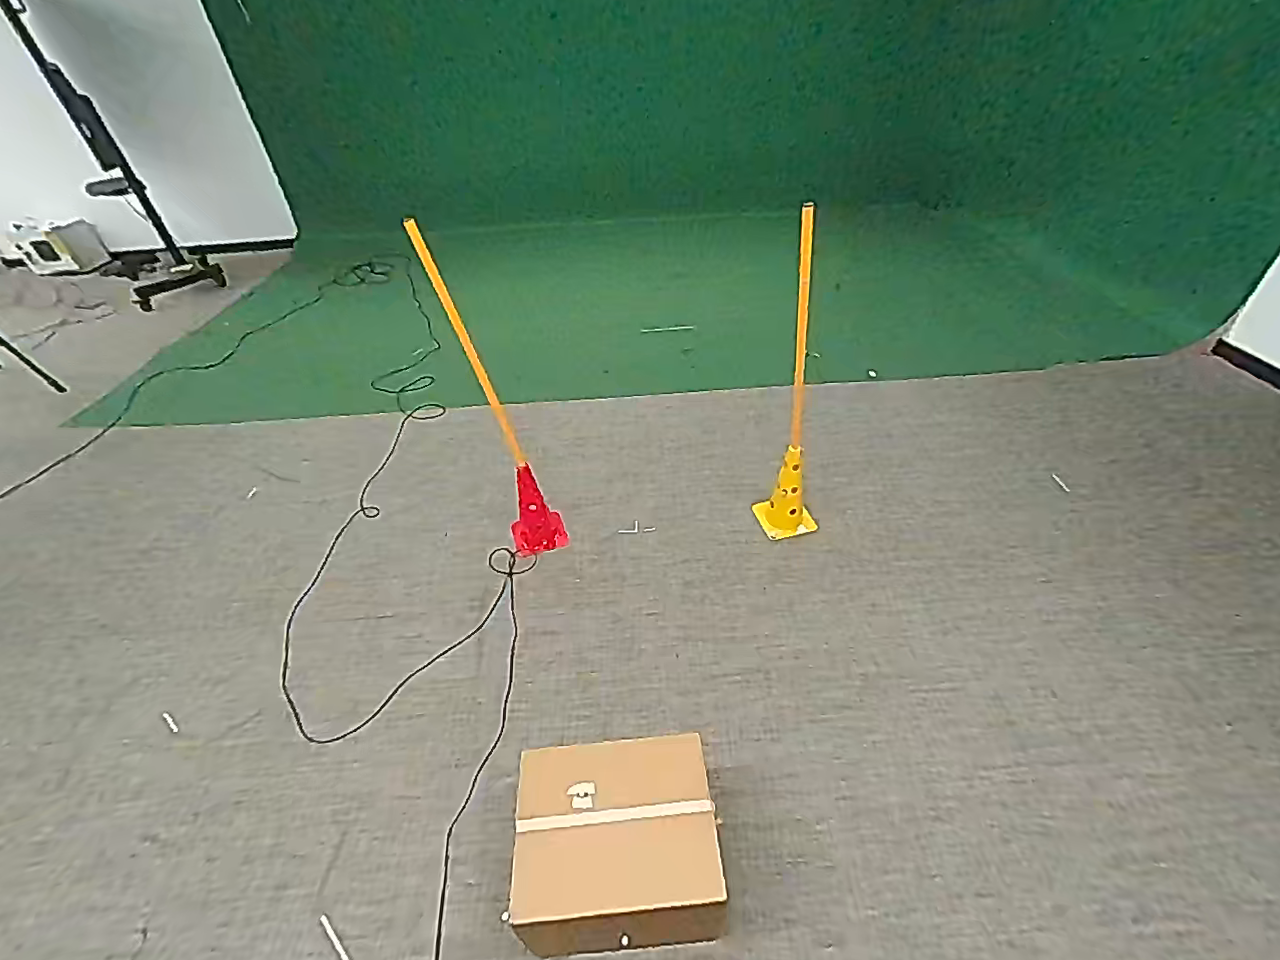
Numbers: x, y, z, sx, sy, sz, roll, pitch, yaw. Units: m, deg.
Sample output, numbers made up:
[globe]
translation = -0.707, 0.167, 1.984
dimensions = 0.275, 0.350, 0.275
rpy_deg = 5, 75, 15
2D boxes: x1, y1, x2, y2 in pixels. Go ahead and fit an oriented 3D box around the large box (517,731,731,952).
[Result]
[large box]
translation = -0.032, 0.802, 1.201
dimensions = 0.408, 0.320, 0.320
rpy_deg = -6, 39, -1
